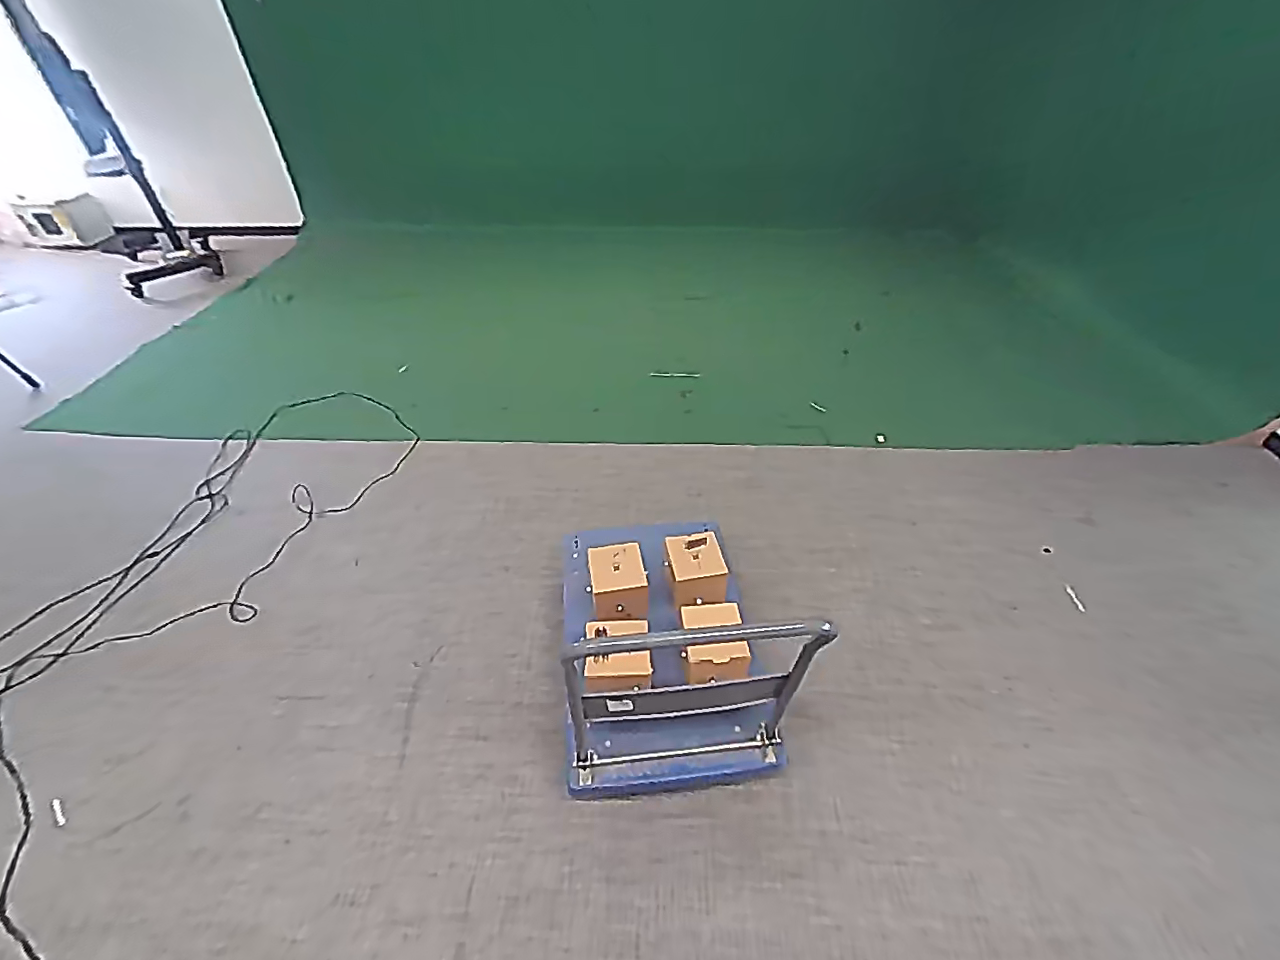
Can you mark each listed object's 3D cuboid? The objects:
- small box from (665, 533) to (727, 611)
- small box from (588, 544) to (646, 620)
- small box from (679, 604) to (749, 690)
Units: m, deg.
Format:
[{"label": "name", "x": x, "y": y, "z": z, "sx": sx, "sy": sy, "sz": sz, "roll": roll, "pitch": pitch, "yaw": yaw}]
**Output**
[{"label": "small box", "x": 0.175, "y": 0.301, "z": 1.765, "sx": 0.168, "sy": 0.176, "sz": 0.179, "roll": -8, "pitch": 44, "yaw": -6}, {"label": "small box", "x": -0.072, "y": 0.333, "z": 1.732, "sx": 0.168, "sy": 0.176, "sz": 0.179, "roll": -6, "pitch": 43, "yaw": -8}, {"label": "small box", "x": 0.207, "y": 0.483, "z": 1.567, "sx": 0.168, "sy": 0.176, "sz": 0.179, "roll": -4, "pitch": 43, "yaw": -4}]
